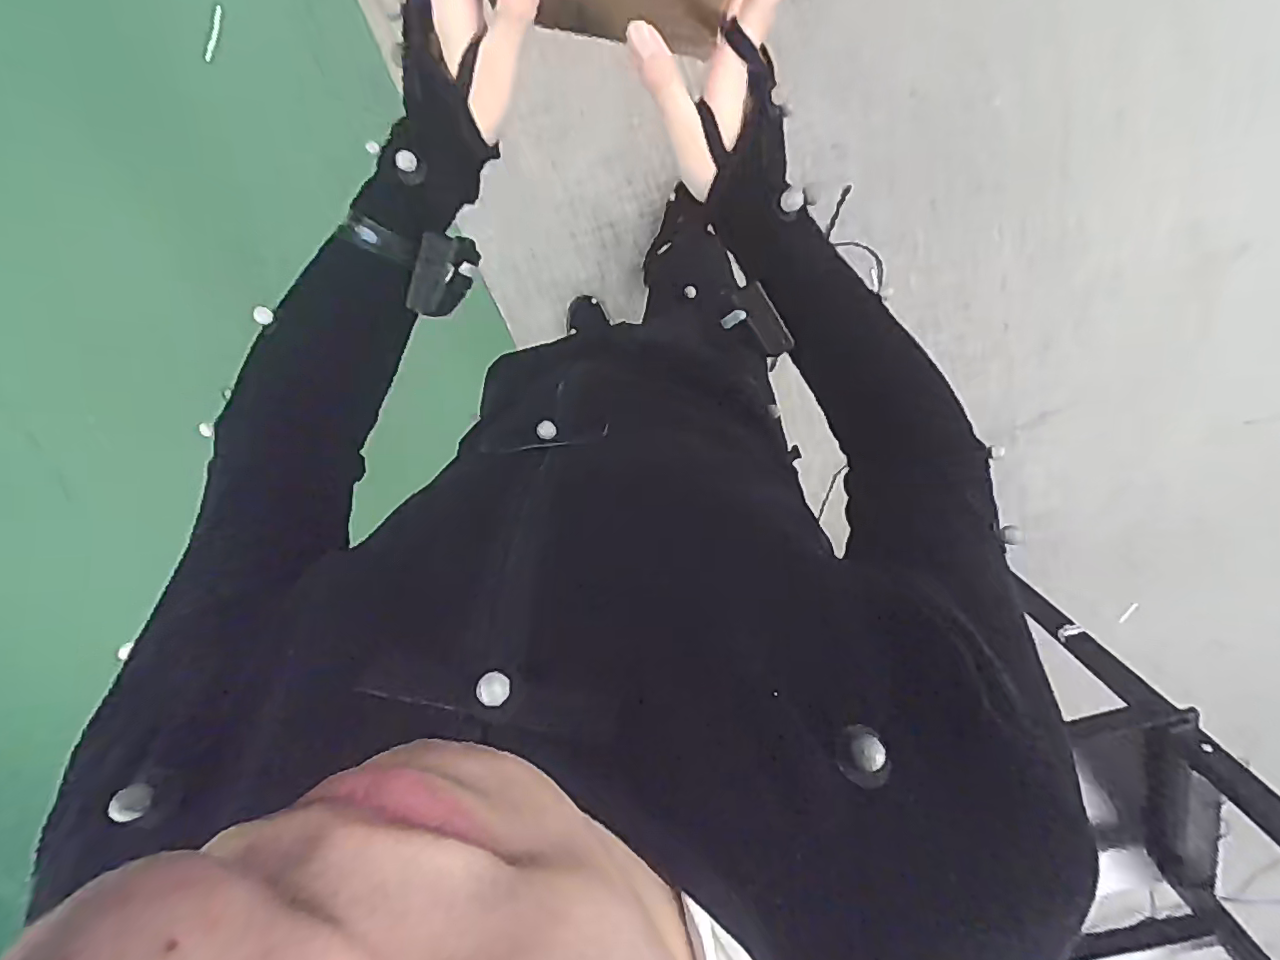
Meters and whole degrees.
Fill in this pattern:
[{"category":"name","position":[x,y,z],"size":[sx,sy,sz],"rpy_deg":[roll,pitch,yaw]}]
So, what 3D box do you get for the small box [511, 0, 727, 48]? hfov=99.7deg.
[{"category":"small box","position":[-0.009,-0.418,0.339],"size":[0.179,0.176,0.168],"rpy_deg":[10,104,-4]}]
